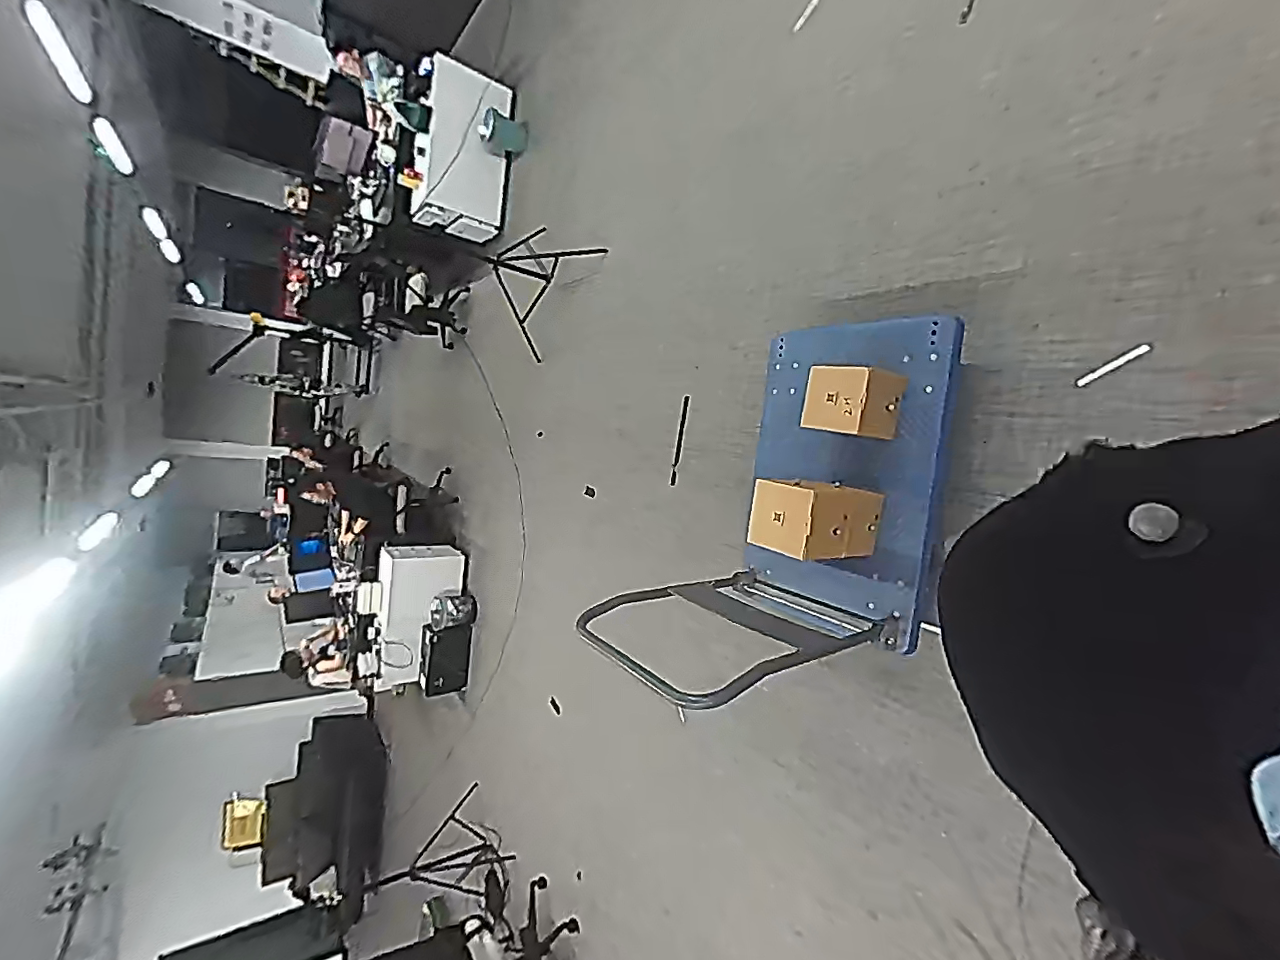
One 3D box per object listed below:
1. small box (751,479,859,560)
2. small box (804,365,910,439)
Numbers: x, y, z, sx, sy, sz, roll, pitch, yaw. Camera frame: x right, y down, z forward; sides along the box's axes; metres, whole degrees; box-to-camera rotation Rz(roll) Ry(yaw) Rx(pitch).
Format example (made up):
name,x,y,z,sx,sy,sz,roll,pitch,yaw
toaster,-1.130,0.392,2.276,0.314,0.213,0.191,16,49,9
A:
name,x,y,z,sx,sy,sz,roll,pitch,yaw
small box,0.403,0.095,1.328,0.179,0.176,0.168,15,99,52
small box,0.564,-0.202,1.408,0.179,0.176,0.168,19,103,53
